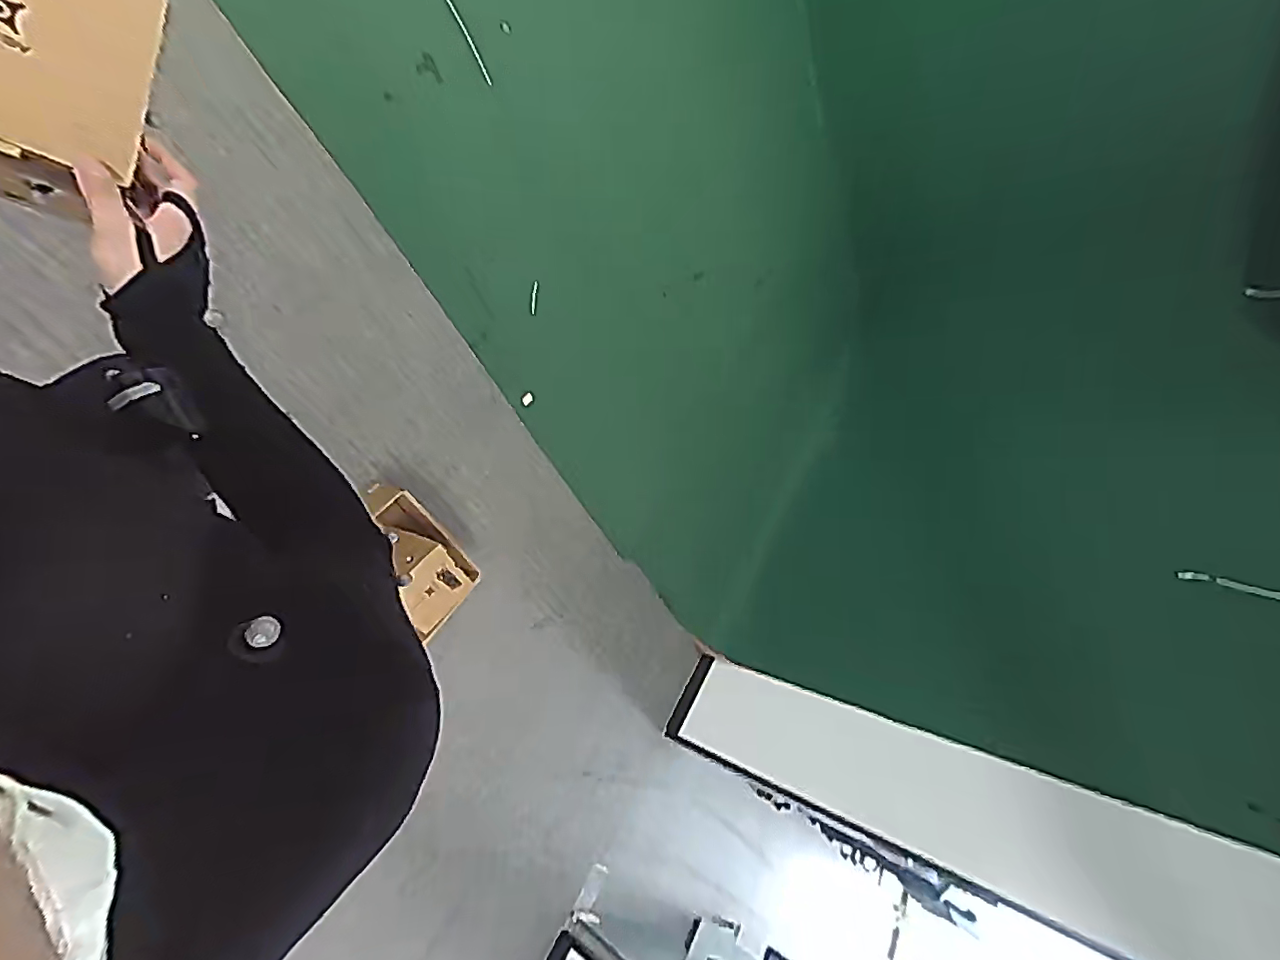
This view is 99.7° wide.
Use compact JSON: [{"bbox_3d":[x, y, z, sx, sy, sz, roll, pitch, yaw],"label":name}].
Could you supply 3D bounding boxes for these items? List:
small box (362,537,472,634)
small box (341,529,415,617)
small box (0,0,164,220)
[{"bbox_3d":[-0.594,0.272,1.439,0.179,0.176,0.168,-49,129,-32],"label":"small box"},{"bbox_3d":[-0.716,0.257,1.547,0.168,0.176,0.179,-42,126,-36],"label":"small box"},{"bbox_3d":[-0.513,-0.336,0.427,0.168,0.176,0.179,11,87,-51],"label":"small box"}]
